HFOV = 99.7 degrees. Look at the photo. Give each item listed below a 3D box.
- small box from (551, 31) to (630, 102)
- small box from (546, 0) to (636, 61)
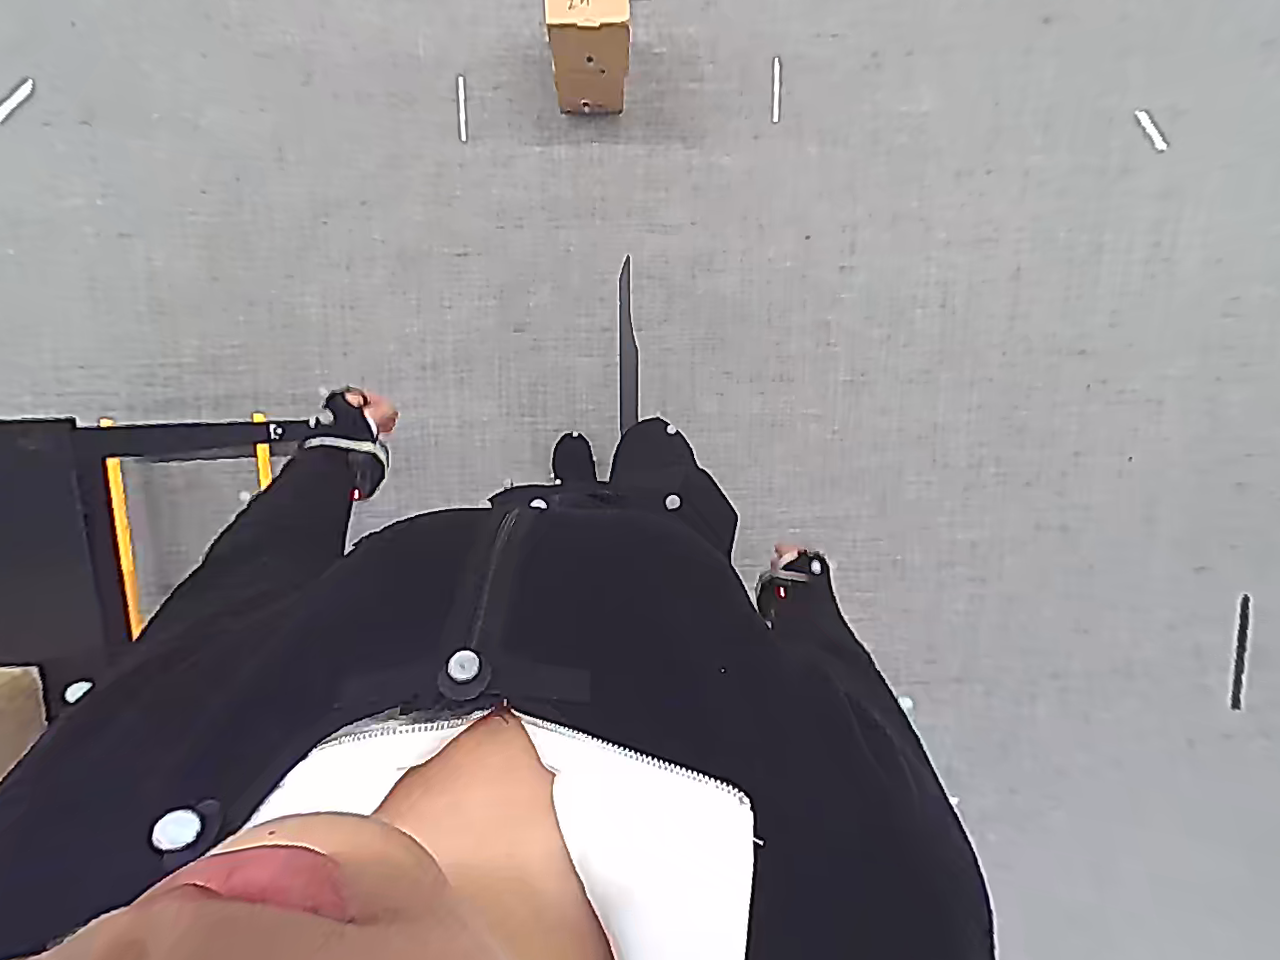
[{"bbox_3d":[-0.109,-0.979,1.199,0.168,0.176,0.179,-3,99,-2],"label":"small box"},{"bbox_3d":[-0.093,-0.951,1.036,0.168,0.176,0.179,-2,97,-1],"label":"small box"}]
